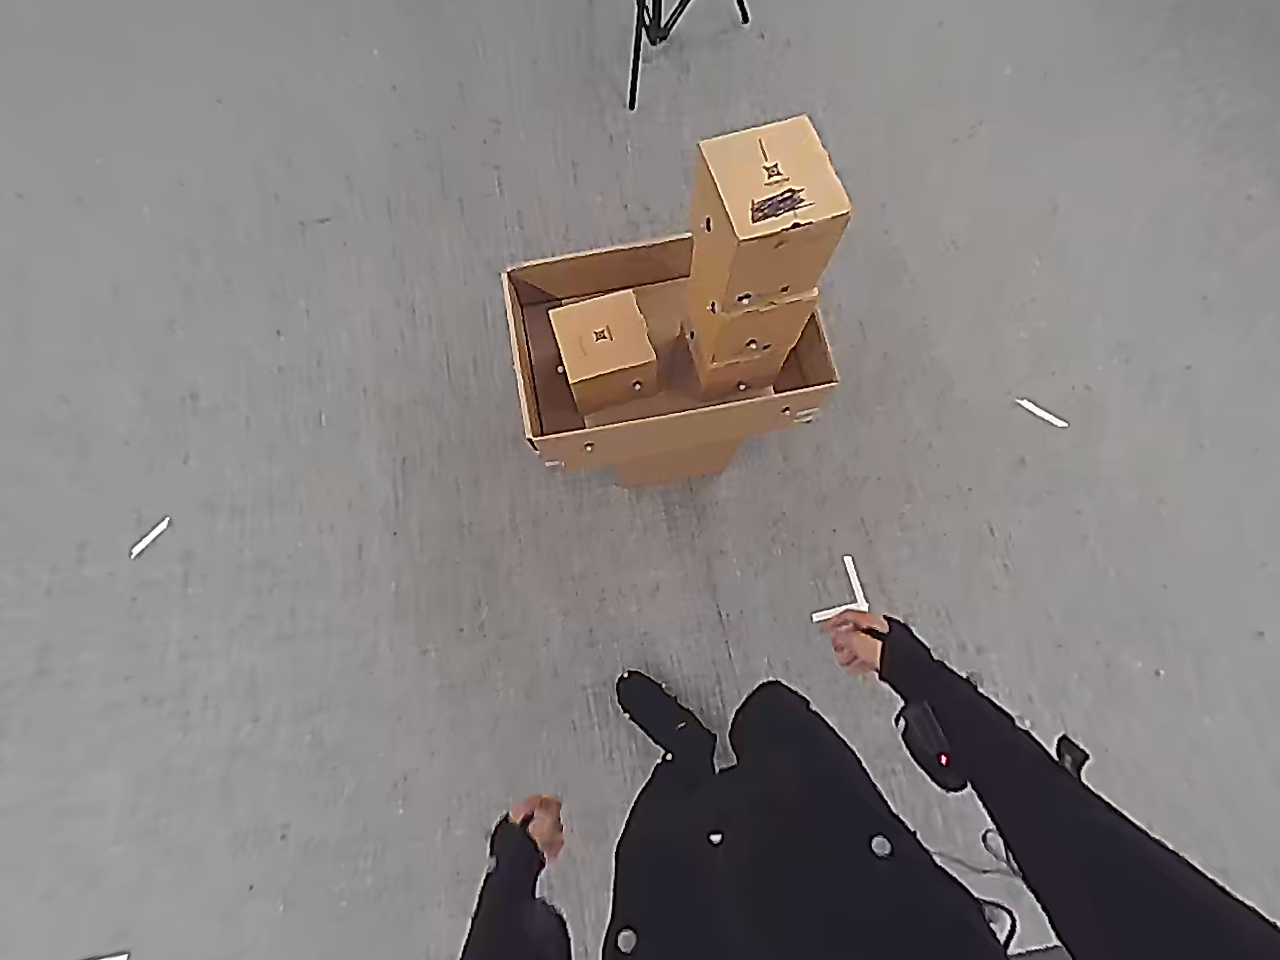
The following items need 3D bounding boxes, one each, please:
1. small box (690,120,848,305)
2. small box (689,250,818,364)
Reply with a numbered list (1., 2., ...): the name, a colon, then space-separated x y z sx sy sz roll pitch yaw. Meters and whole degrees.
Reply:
1. small box: 0.181 -0.387 0.815 0.168 0.176 0.179 -16 75 -4
2. small box: 0.191 -0.336 0.971 0.168 0.176 0.179 -14 76 -3
